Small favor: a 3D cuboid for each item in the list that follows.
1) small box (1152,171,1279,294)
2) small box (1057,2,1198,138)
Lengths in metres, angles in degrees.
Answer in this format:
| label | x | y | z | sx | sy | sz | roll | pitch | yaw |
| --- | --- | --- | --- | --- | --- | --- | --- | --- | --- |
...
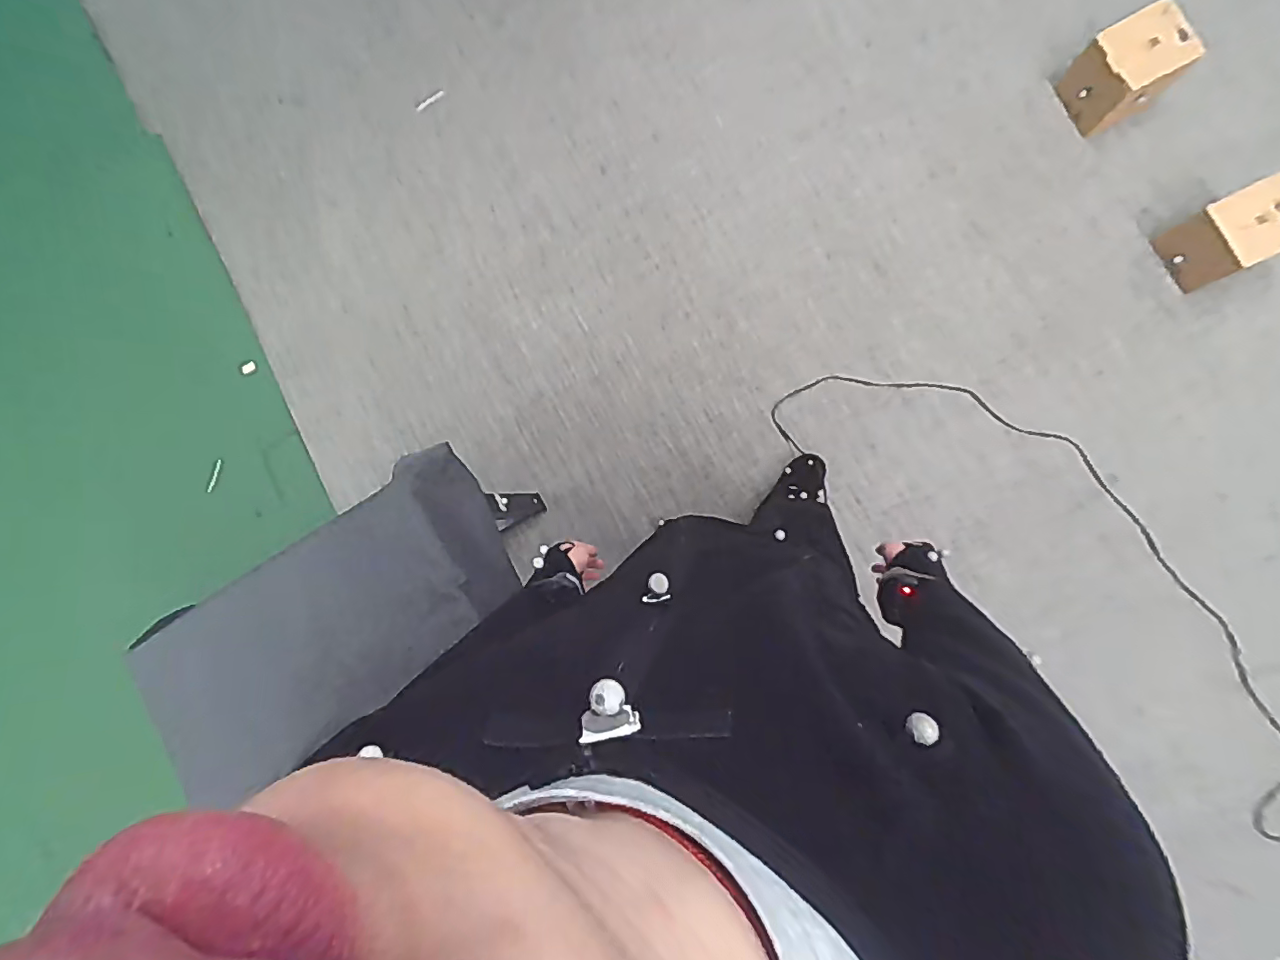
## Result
| label | x | y | z | sx | sy | sz | roll | pitch | yaw |
| --- | --- | --- | --- | --- | --- | --- | --- | --- | --- |
| small box | 1.400 | -0.578 | 1.285 | 0.179 | 0.176 | 0.168 | -26 | 83 | 9 |
| small box | 1.188 | -1.002 | 1.340 | 0.179 | 0.176 | 0.168 | -26 | 84 | 8 |
